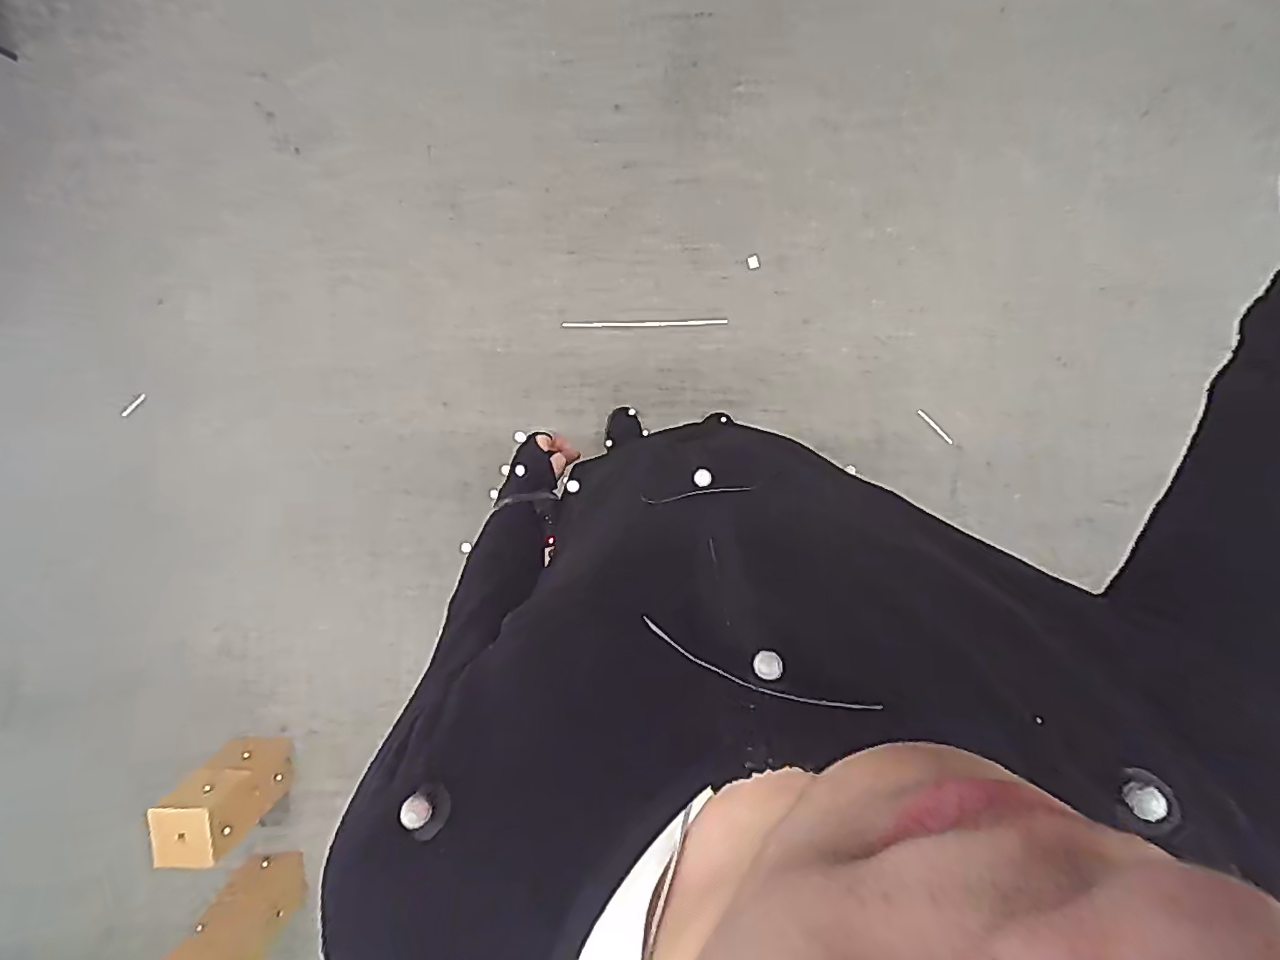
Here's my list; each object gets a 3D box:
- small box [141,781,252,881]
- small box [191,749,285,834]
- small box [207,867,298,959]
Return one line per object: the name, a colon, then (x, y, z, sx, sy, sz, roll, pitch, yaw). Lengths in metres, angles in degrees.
small box: (-1.217, 0.962, 1.496, 0.168, 0.176, 0.179, -1, 97, 1)
small box: (-1.221, 0.950, 1.658, 0.179, 0.176, 0.168, 1, 95, 0)
small box: (-1.207, 1.365, 1.697, 0.168, 0.176, 0.179, -1, 95, 1)
